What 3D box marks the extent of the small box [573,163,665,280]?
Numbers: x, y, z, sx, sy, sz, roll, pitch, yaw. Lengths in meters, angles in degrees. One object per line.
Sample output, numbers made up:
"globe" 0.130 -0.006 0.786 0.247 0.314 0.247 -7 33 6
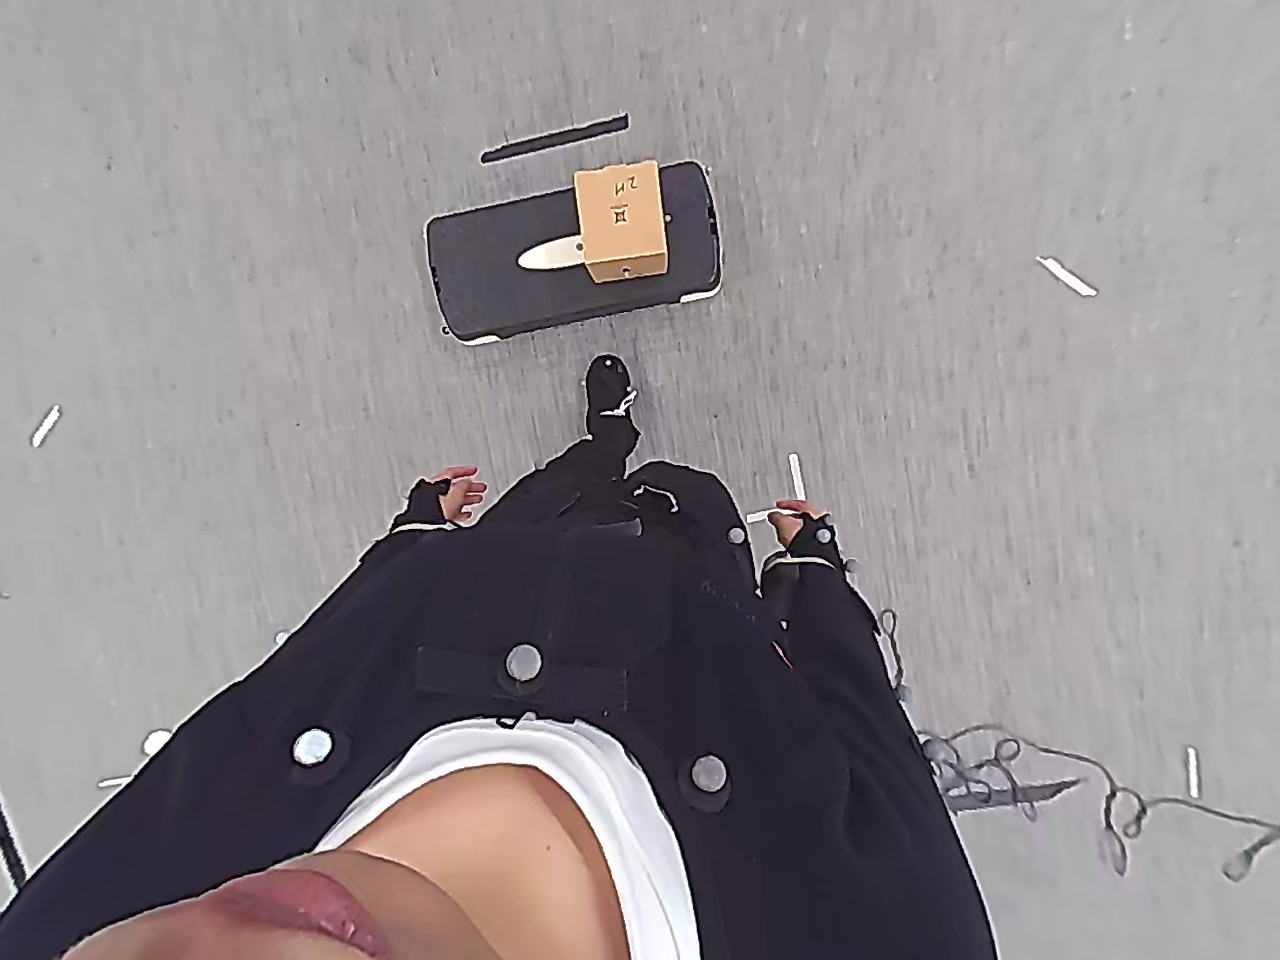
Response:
"small box" -0.037 -0.527 1.131 0.168 0.176 0.179 -6 97 3
